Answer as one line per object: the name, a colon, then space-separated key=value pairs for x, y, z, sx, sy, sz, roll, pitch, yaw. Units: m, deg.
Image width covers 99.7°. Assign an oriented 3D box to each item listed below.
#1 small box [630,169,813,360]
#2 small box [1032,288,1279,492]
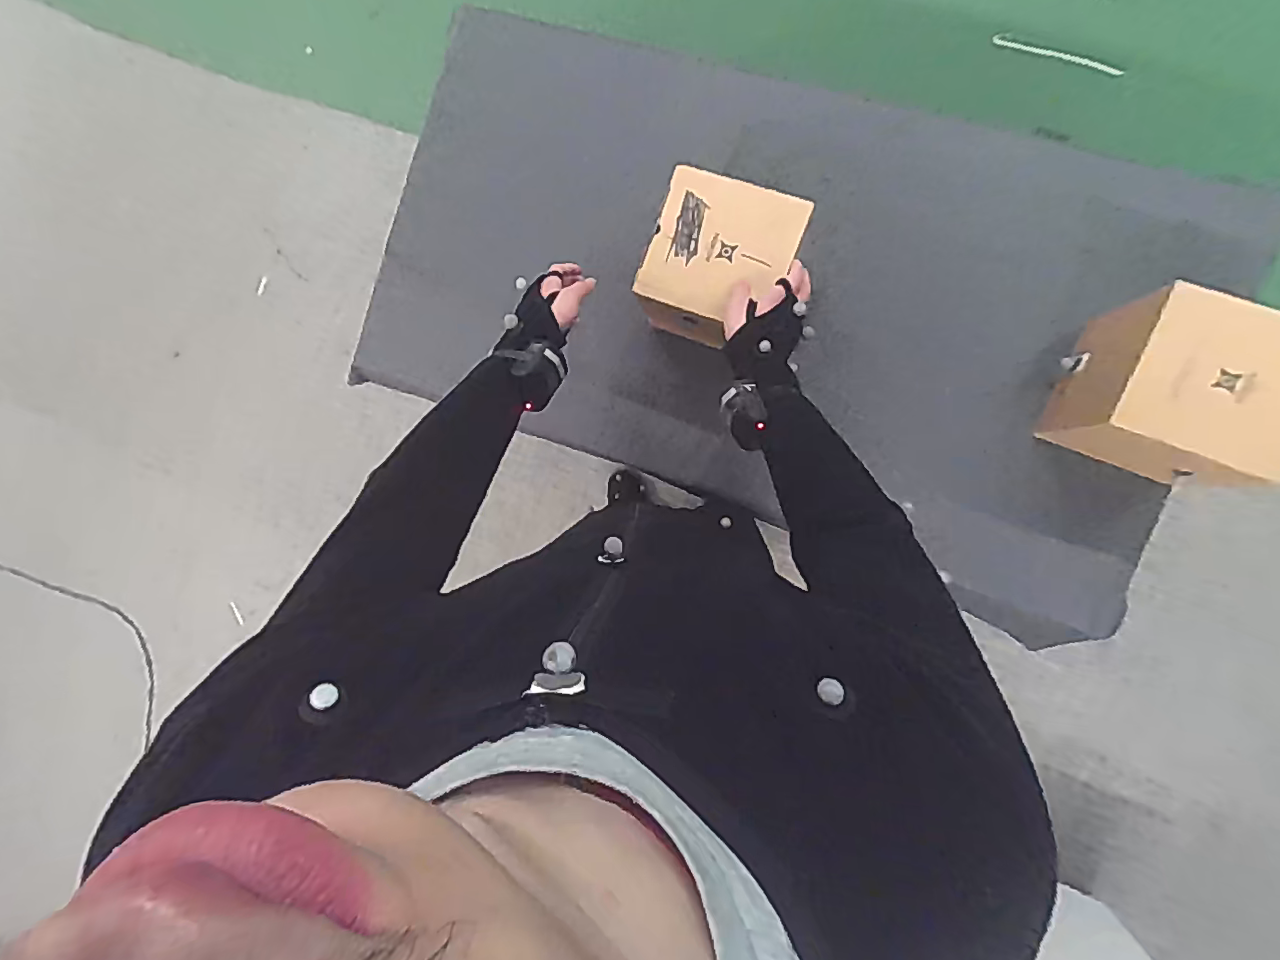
small box: x=0.108 y=-0.274 z=0.728 sx=0.179 sy=0.176 sz=0.168 roll=21 pitch=96 yaw=8
small box: x=0.621 y=-0.097 z=0.636 sx=0.179 sy=0.176 sz=0.168 roll=23 pitch=94 yaw=11
